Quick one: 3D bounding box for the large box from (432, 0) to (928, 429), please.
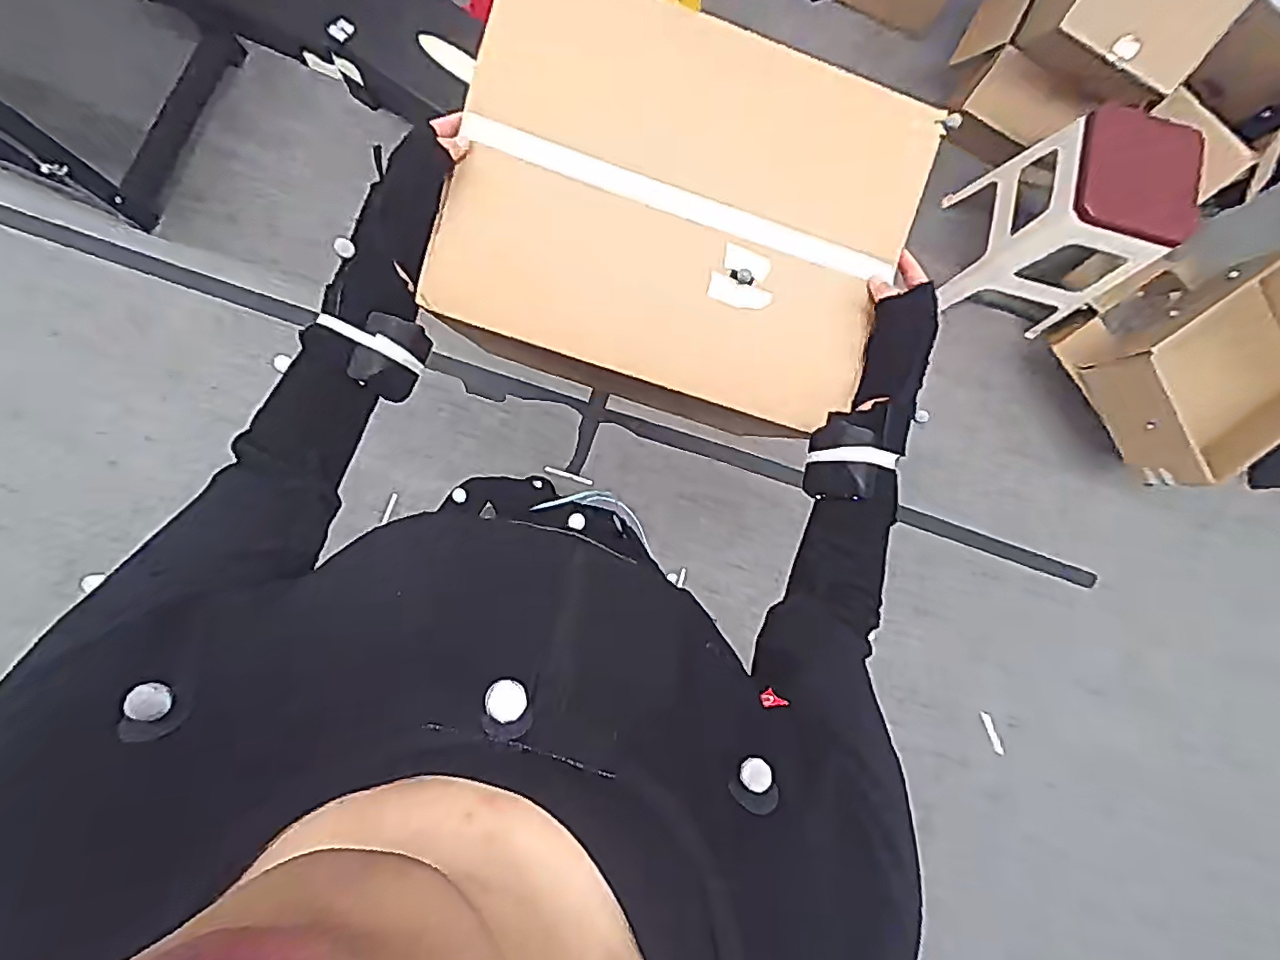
[{"bbox_3d":[0.026,-0.261,0.641,0.408,0.320,0.320,17,95,-8],"label":"large box"}]
